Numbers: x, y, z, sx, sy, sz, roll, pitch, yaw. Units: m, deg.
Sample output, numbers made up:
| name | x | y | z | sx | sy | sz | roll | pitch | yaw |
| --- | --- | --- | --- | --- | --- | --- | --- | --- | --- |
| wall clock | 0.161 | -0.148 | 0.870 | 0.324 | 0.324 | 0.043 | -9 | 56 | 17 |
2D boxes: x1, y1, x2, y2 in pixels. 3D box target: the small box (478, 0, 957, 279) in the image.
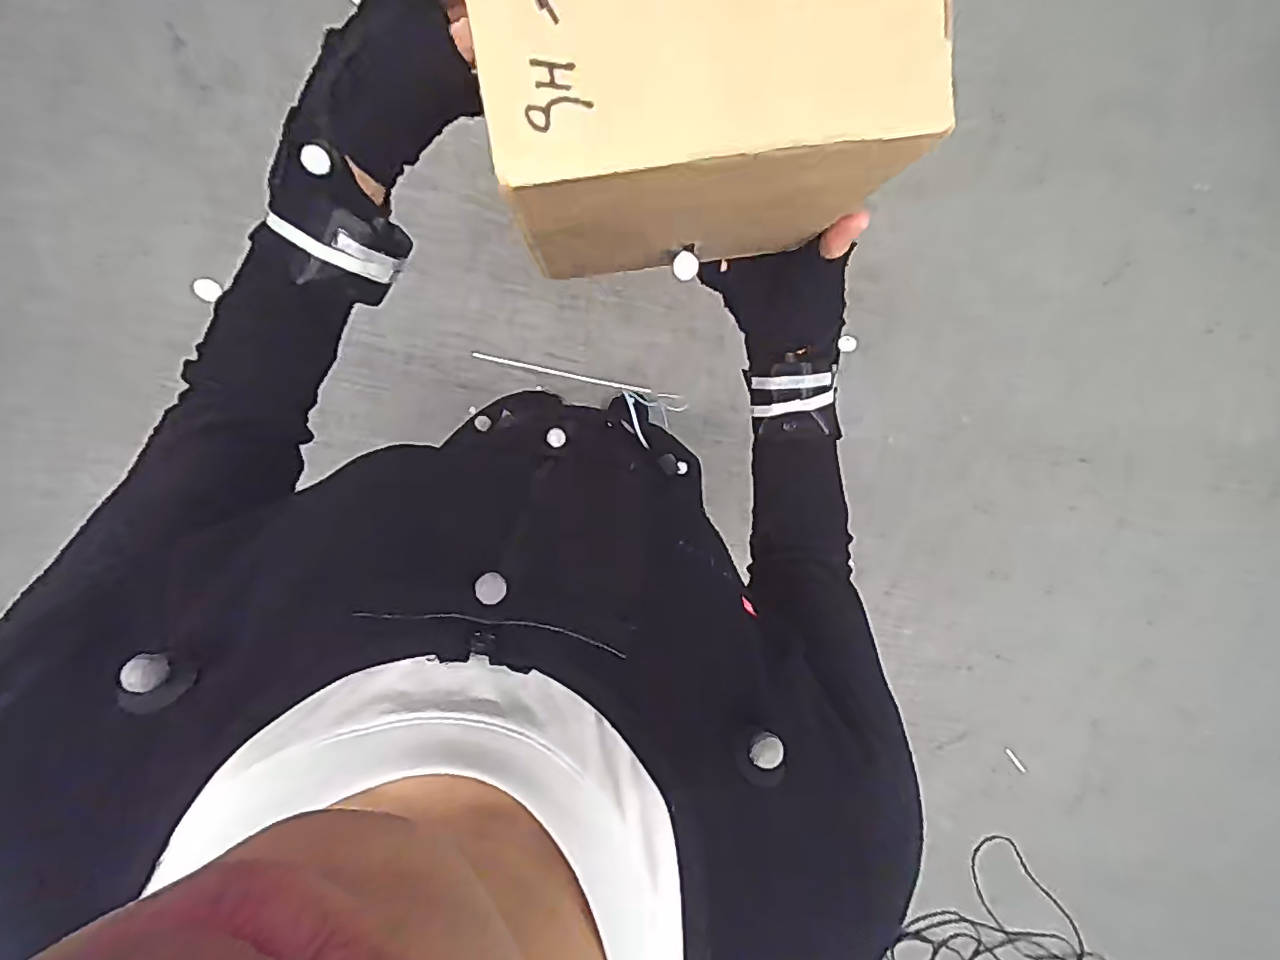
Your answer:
| name | x | y | z | sx | sy | sz | roll | pitch | yaw |
| --- | --- | --- | --- | --- | --- | --- | --- | --- | --- |
| small box | 0.019 | -0.208 | 0.266 | 0.179 | 0.176 | 0.168 | -8 | 98 | -5 |
